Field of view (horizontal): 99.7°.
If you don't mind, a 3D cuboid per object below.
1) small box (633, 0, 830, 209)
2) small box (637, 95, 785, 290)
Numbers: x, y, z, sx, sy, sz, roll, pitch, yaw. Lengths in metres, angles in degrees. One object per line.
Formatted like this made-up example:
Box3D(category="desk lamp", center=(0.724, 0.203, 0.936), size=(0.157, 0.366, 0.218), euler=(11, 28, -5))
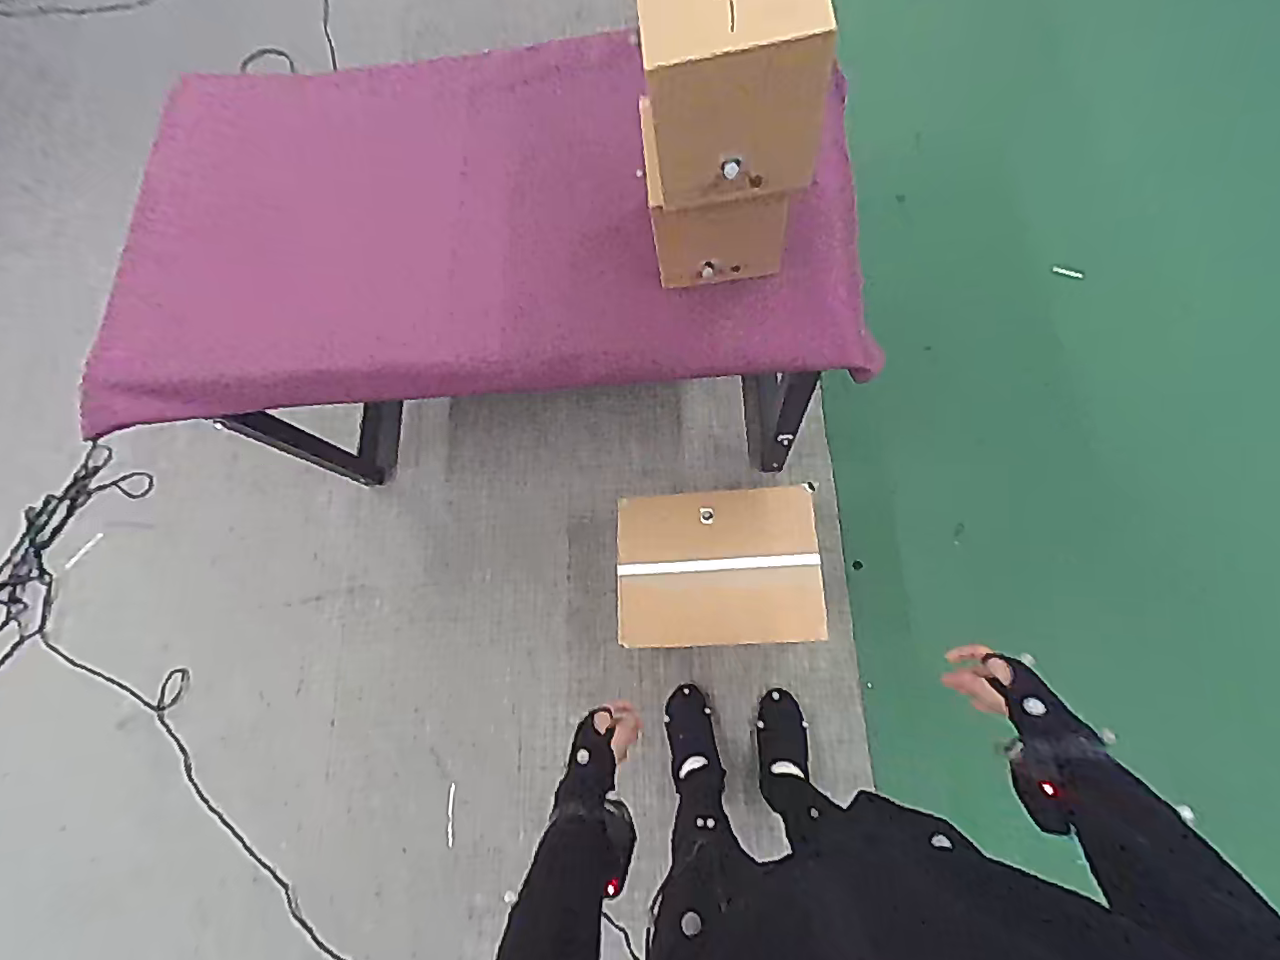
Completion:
Box3D(category="small box", center=(0.085, -0.420, 0.557), size=(0.168, 0.176, 0.179), euler=(-6, 73, 8))
Box3D(category="small box", center=(0.092, -0.384, 0.718), size=(0.168, 0.176, 0.179), euler=(-6, 73, 8))
